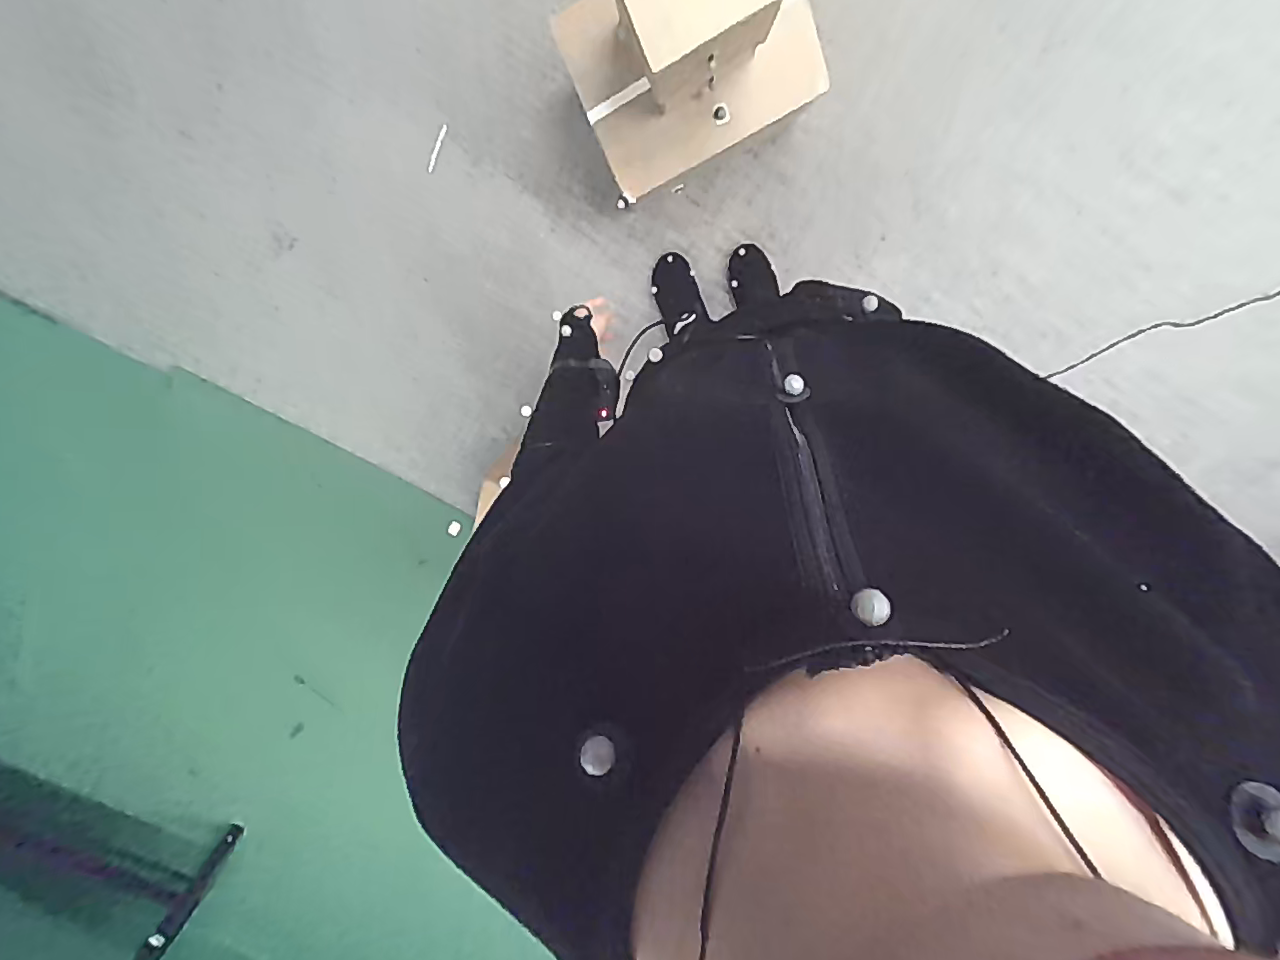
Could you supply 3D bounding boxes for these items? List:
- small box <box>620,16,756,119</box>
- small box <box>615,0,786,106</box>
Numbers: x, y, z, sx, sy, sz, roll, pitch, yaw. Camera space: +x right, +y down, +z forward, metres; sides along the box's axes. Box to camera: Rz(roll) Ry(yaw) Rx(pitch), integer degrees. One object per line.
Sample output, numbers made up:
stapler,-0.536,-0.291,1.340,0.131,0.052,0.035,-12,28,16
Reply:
small box,0.076,-0.708,0.842,0.179,0.176,0.168,-27,108,13
small box,0.066,-0.627,0.697,0.179,0.176,0.168,-22,109,14
